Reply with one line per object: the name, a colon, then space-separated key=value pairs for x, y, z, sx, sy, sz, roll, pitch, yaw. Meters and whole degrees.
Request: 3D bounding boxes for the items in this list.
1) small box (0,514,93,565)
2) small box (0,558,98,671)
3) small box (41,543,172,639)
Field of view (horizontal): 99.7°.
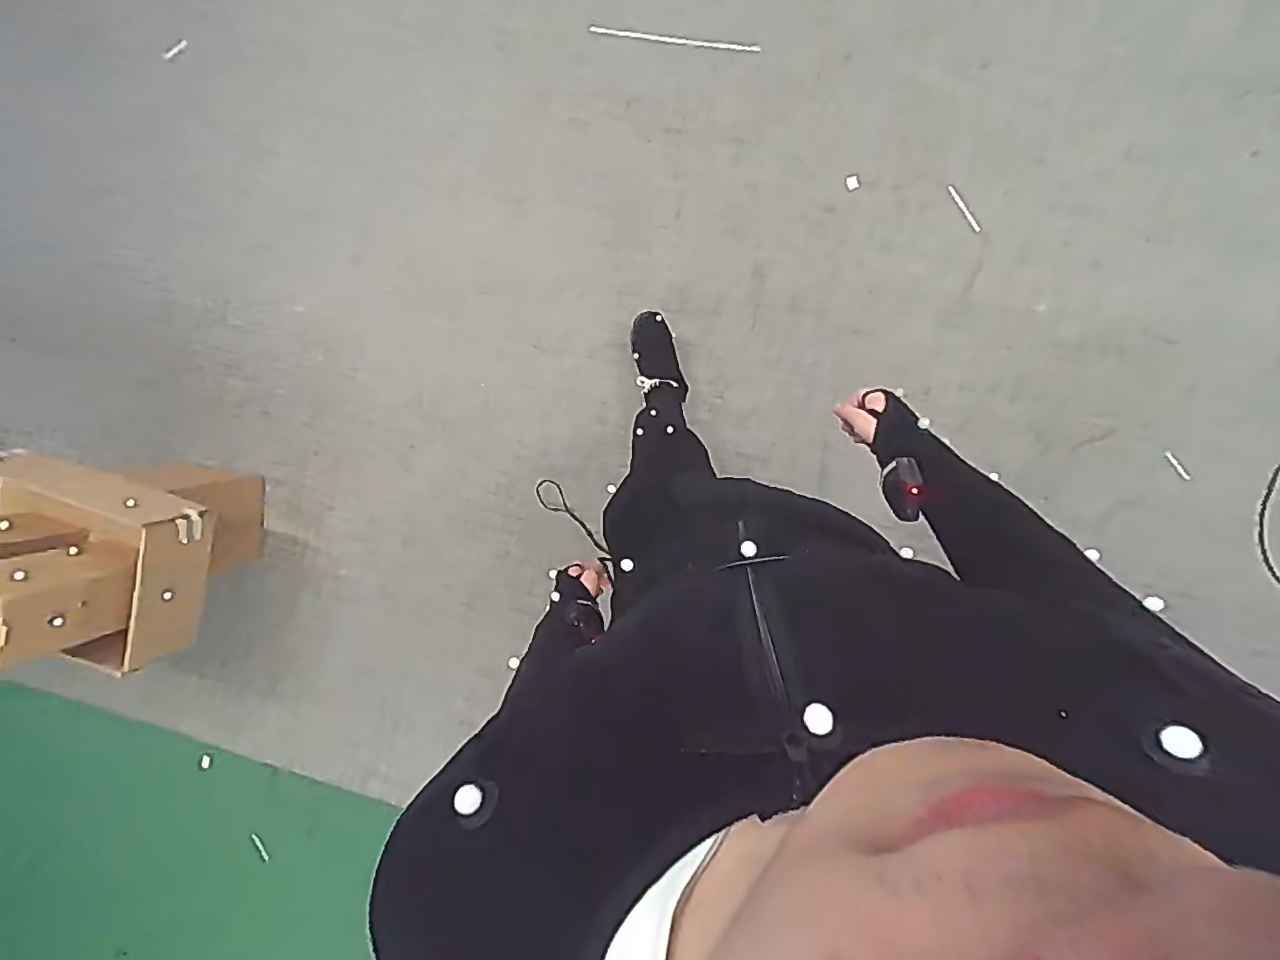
small box: x=-1.566 y=0.192 z=1.374 sx=0.179 sy=0.176 sz=0.168 roll=15 pitch=98 yaw=3
small box: x=-1.350 y=0.283 z=1.181 sx=0.179 sy=0.176 sz=0.168 roll=17 pitch=98 yaw=6
small box: x=-1.326 y=0.265 z=1.341 sx=0.179 sy=0.176 sz=0.168 roll=17 pitch=99 yaw=7
